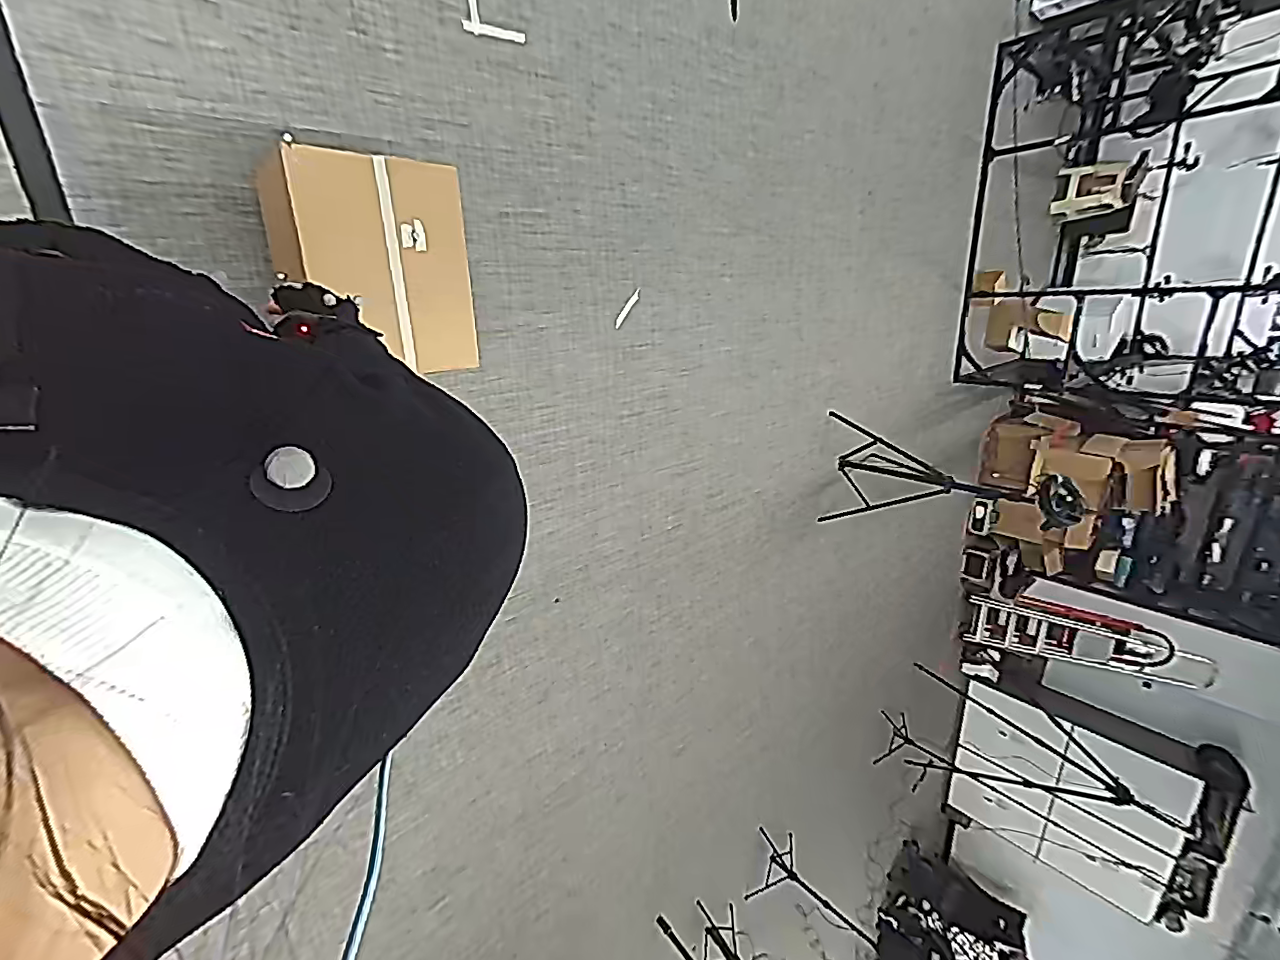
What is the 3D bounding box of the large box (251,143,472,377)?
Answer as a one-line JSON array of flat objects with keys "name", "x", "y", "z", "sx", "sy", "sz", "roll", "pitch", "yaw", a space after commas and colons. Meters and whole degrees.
[{"name": "large box", "x": -0.601, "y": -0.448, "z": 1.178, "sx": 0.320, "sy": 0.320, "sz": 0.408, "roll": -17, "pitch": 112, "yaw": -40}]
